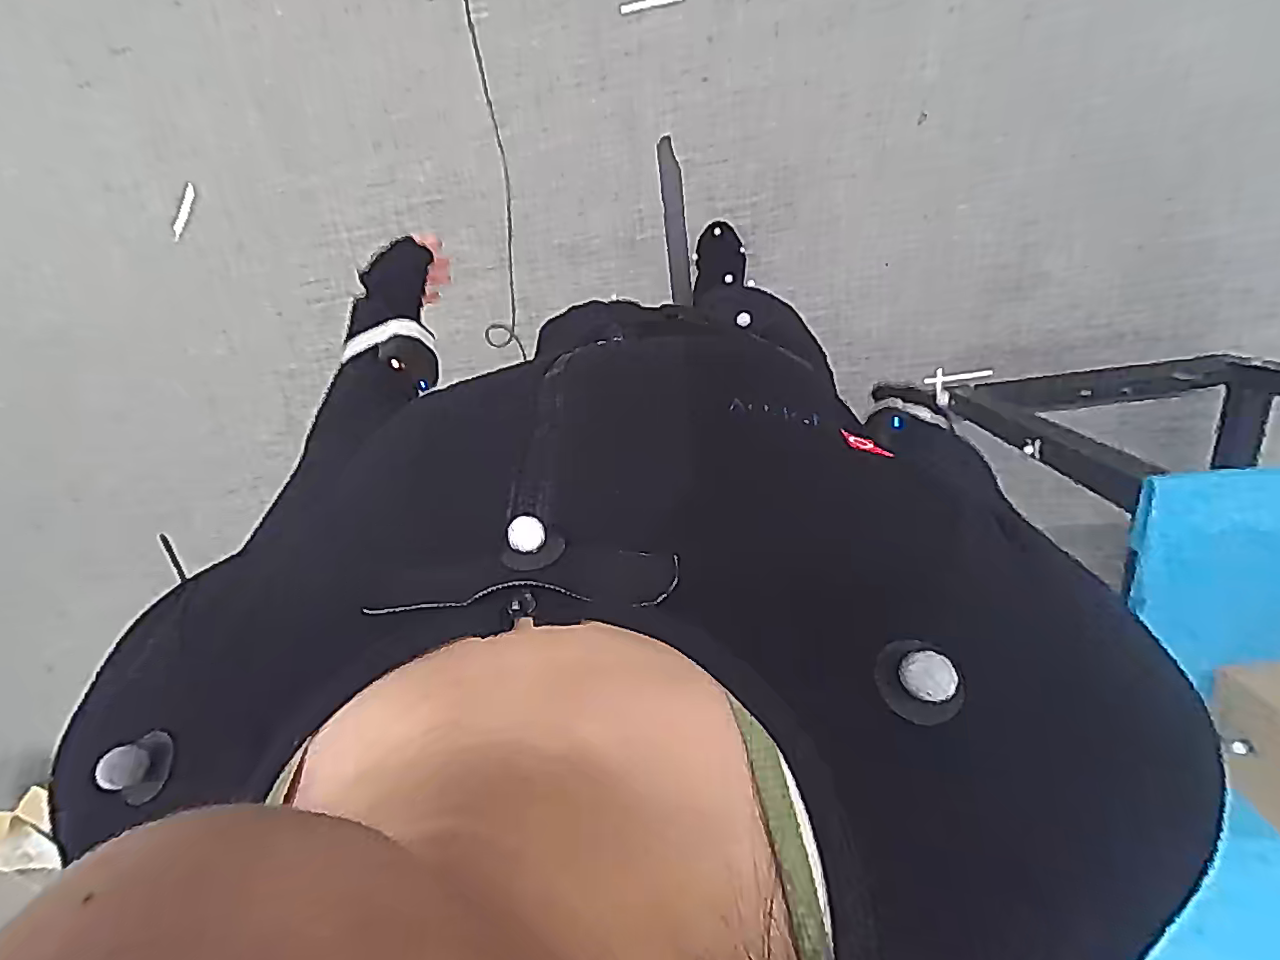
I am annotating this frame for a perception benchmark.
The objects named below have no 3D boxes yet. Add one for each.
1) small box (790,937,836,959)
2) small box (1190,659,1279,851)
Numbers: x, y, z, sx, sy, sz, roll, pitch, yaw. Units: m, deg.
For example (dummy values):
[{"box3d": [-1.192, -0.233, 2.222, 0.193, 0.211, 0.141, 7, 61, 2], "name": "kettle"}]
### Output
[{"box3d": [0.659, 1.865, 2.031, 0.168, 0.176, 0.179, -6, 110, 12], "name": "small box"}, {"box3d": [0.822, 0.327, 0.634, 0.179, 0.176, 0.168, -6, 109, 14], "name": "small box"}]
